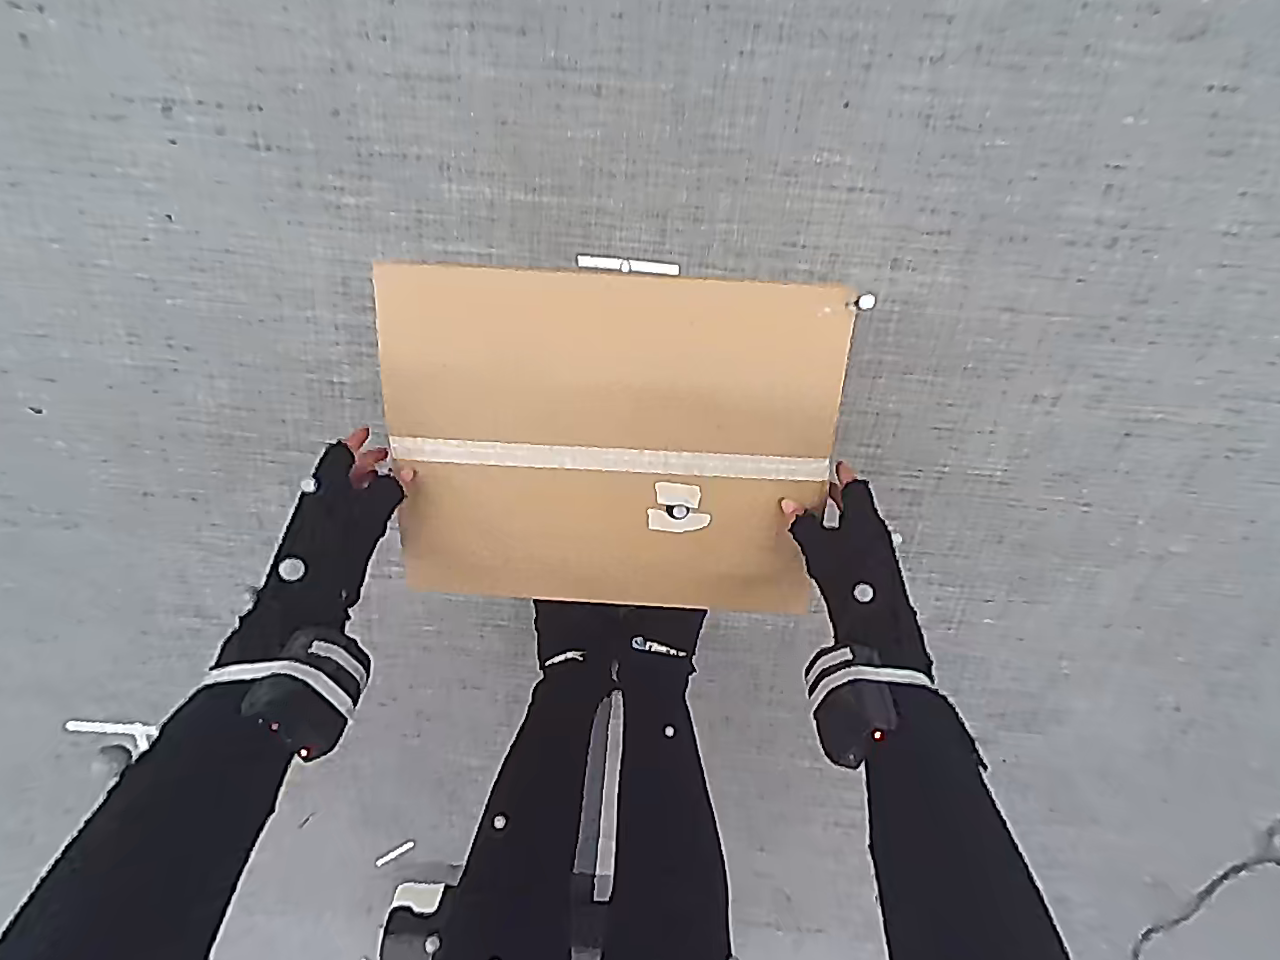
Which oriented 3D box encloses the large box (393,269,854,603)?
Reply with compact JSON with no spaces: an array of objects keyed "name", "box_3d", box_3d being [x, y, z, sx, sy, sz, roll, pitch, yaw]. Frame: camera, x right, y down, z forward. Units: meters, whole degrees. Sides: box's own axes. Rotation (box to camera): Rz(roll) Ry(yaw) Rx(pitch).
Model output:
[{"name":"large box","box_3d":[-0.019,-0.072,0.648,0.408,0.320,0.320,3,109,0]}]
